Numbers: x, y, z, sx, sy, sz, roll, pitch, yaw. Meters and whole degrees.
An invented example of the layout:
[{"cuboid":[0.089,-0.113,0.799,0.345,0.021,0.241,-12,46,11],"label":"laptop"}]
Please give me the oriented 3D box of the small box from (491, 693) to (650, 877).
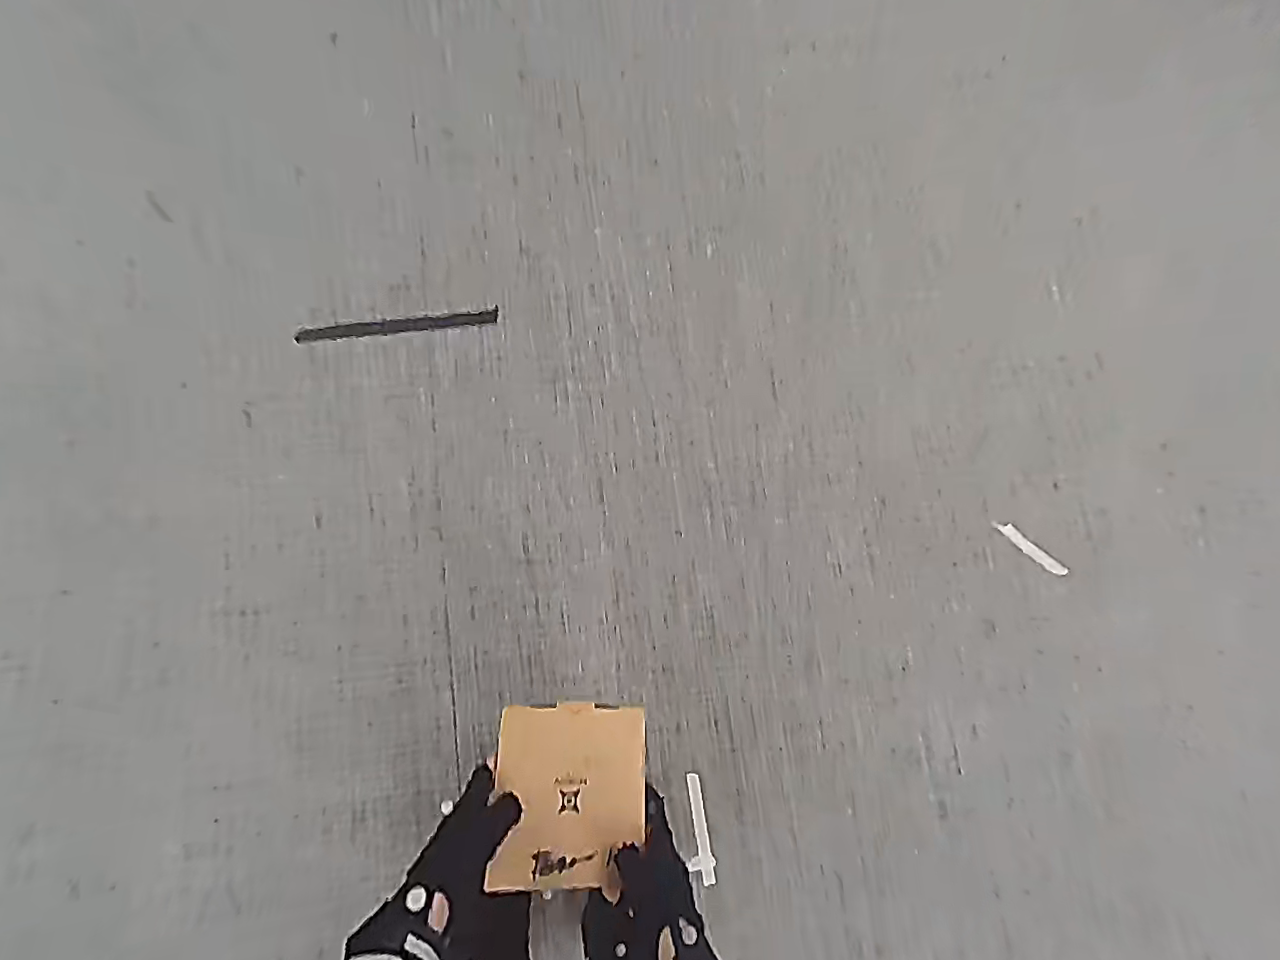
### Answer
[{"cuboid":[-0.085,0.364,0.665,0.168,0.176,0.179,5,65,-9],"label":"small box"}]
